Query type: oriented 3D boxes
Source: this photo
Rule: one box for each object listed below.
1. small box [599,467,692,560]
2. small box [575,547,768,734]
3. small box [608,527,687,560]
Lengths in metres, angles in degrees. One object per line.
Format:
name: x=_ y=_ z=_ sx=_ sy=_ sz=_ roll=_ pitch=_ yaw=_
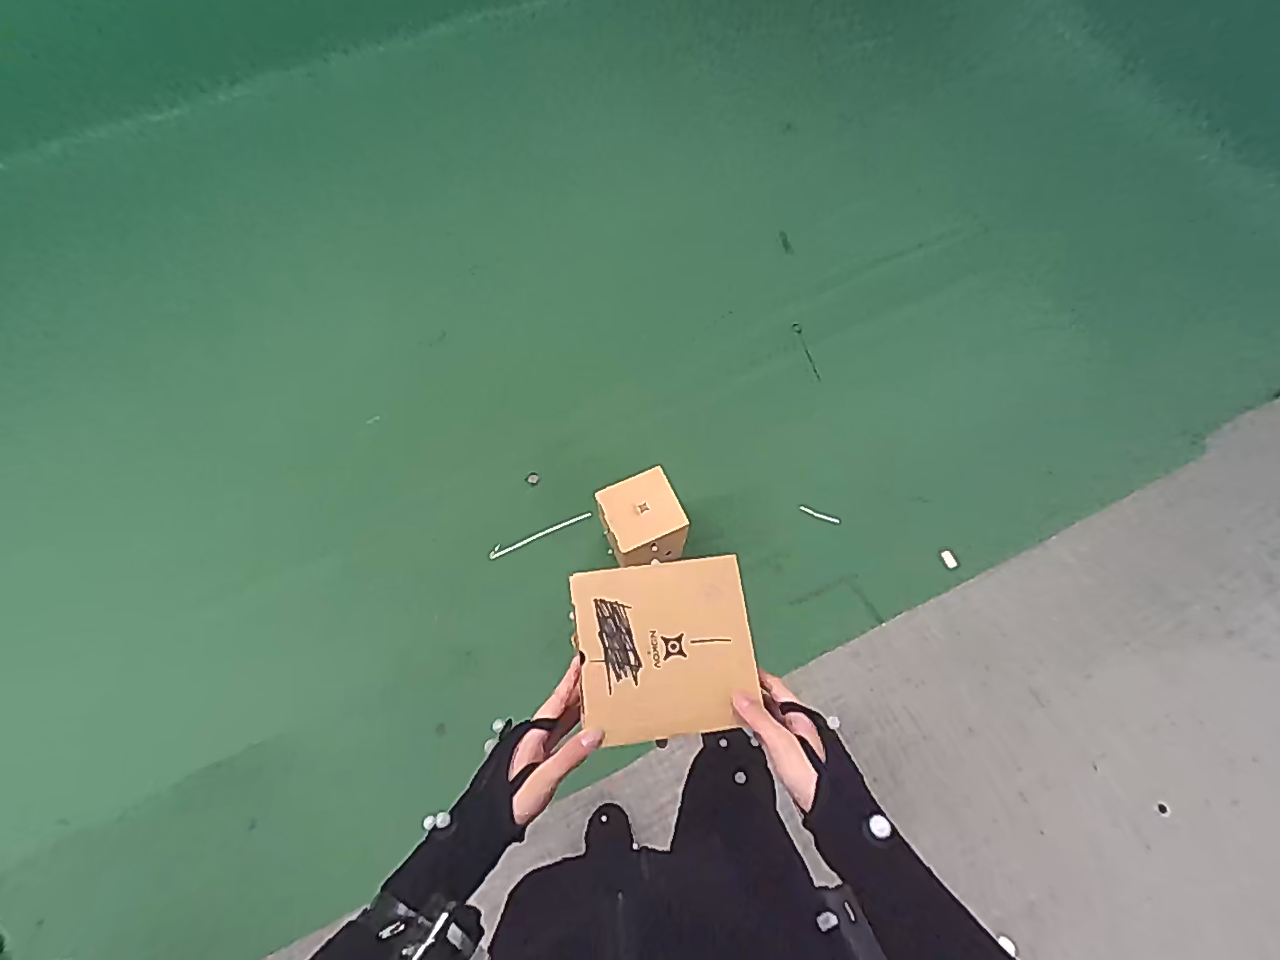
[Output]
small box: x=0.012 y=0.096 z=1.344 sx=0.179 sy=0.176 sz=0.168 roll=-23 pitch=70 yaw=-7
small box: x=0.026 y=0.180 z=0.612 sx=0.179 sy=0.176 sz=0.168 roll=-6 pitch=73 yaw=-5
small box: x=0.014 y=0.154 z=1.495 sx=0.179 sy=0.176 sz=0.168 roll=-22 pitch=69 yaw=-8
